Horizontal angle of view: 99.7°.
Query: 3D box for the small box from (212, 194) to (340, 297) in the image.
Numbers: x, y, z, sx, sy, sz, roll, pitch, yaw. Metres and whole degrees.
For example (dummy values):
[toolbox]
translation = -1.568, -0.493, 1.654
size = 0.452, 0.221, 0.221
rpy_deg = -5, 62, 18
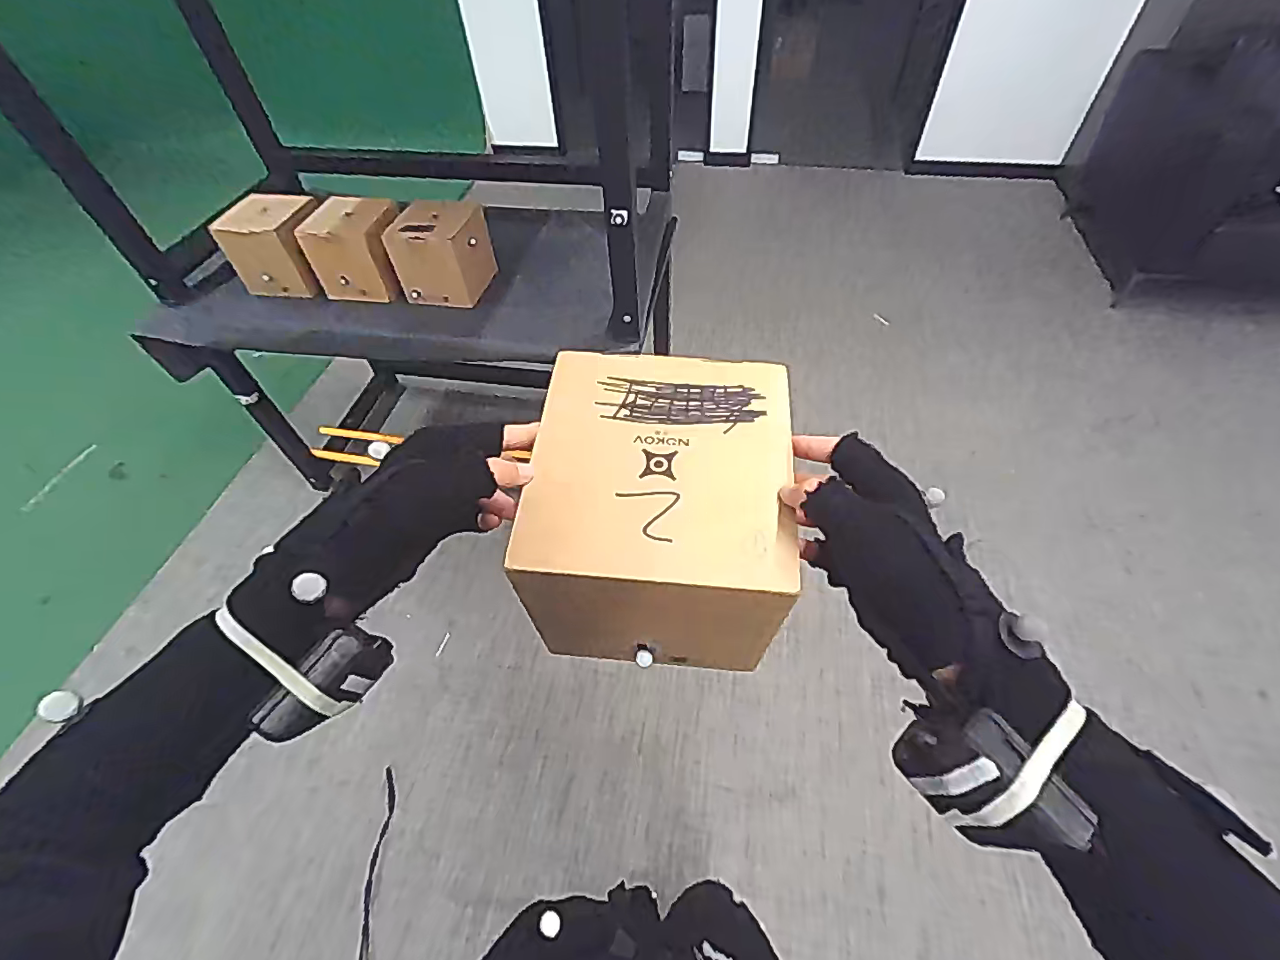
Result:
[small box]
translation = -0.867, -0.571, 1.316
size = 0.168, 0.176, 0.179
rpy_deg = 5, 52, 6
